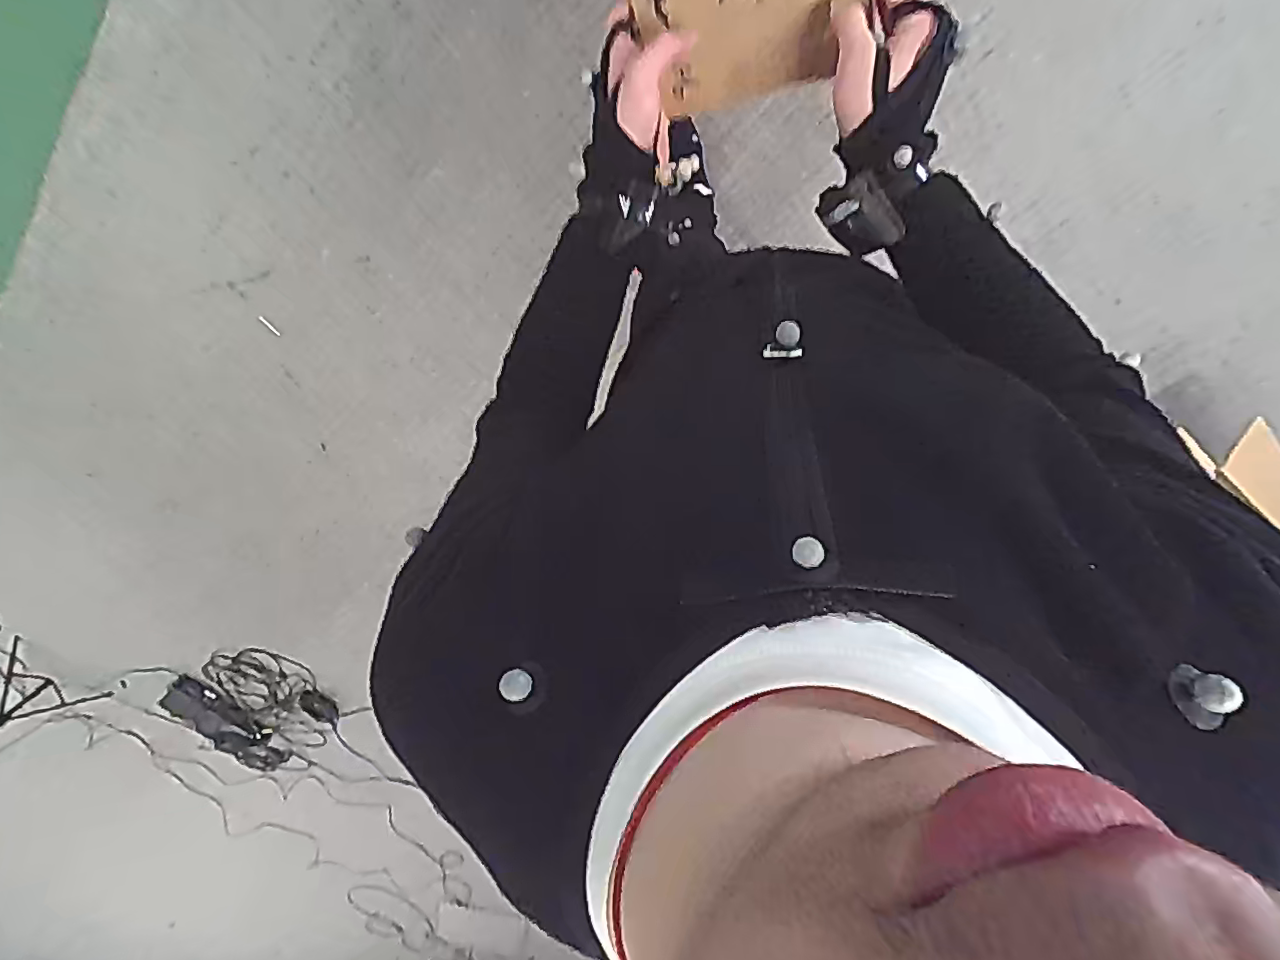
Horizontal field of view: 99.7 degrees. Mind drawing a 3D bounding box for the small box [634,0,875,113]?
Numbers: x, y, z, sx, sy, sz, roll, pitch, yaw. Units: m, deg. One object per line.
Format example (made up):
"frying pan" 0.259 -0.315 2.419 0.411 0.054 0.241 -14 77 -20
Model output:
"small box" 0.093 -0.440 0.430 0.179 0.176 0.168 1 149 23
